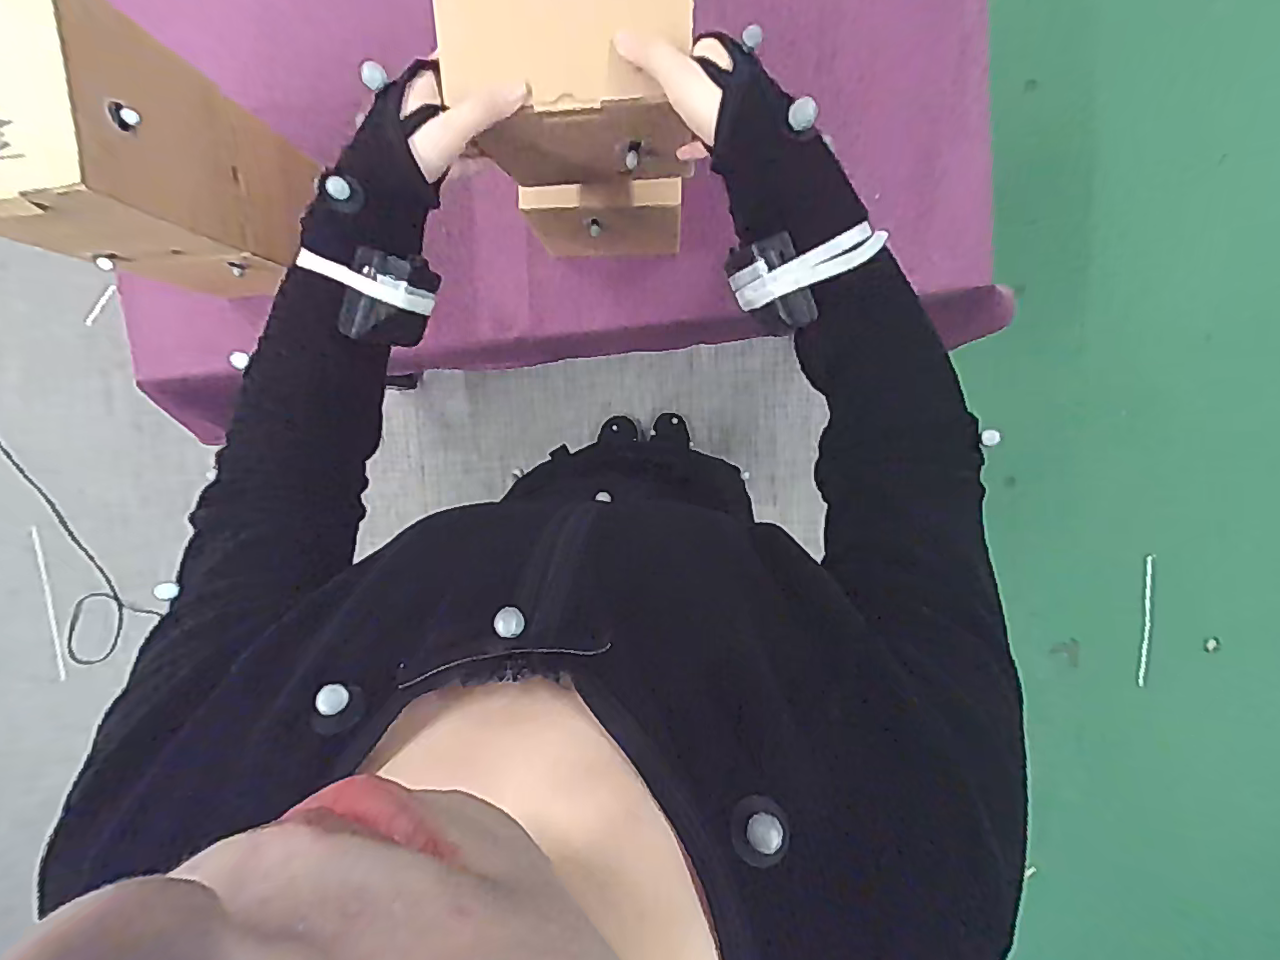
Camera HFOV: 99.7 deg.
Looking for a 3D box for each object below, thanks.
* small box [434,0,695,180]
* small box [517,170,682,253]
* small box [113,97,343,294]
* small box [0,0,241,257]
[{"bbox_3d":[-0.043,-0.344,0.412,0.168,0.176,0.179,0,104,6],"label":"small box"},{"bbox_3d":[-0.038,-0.379,0.645,0.179,0.176,0.168,1,97,4],"label":"small box"},{"bbox_3d":[-0.513,-0.341,0.682,0.179,0.176,0.168,-3,96,3],"label":"small box"},{"bbox_3d":[-0.525,-0.326,0.518,0.168,0.176,0.179,-4,95,3],"label":"small box"}]
